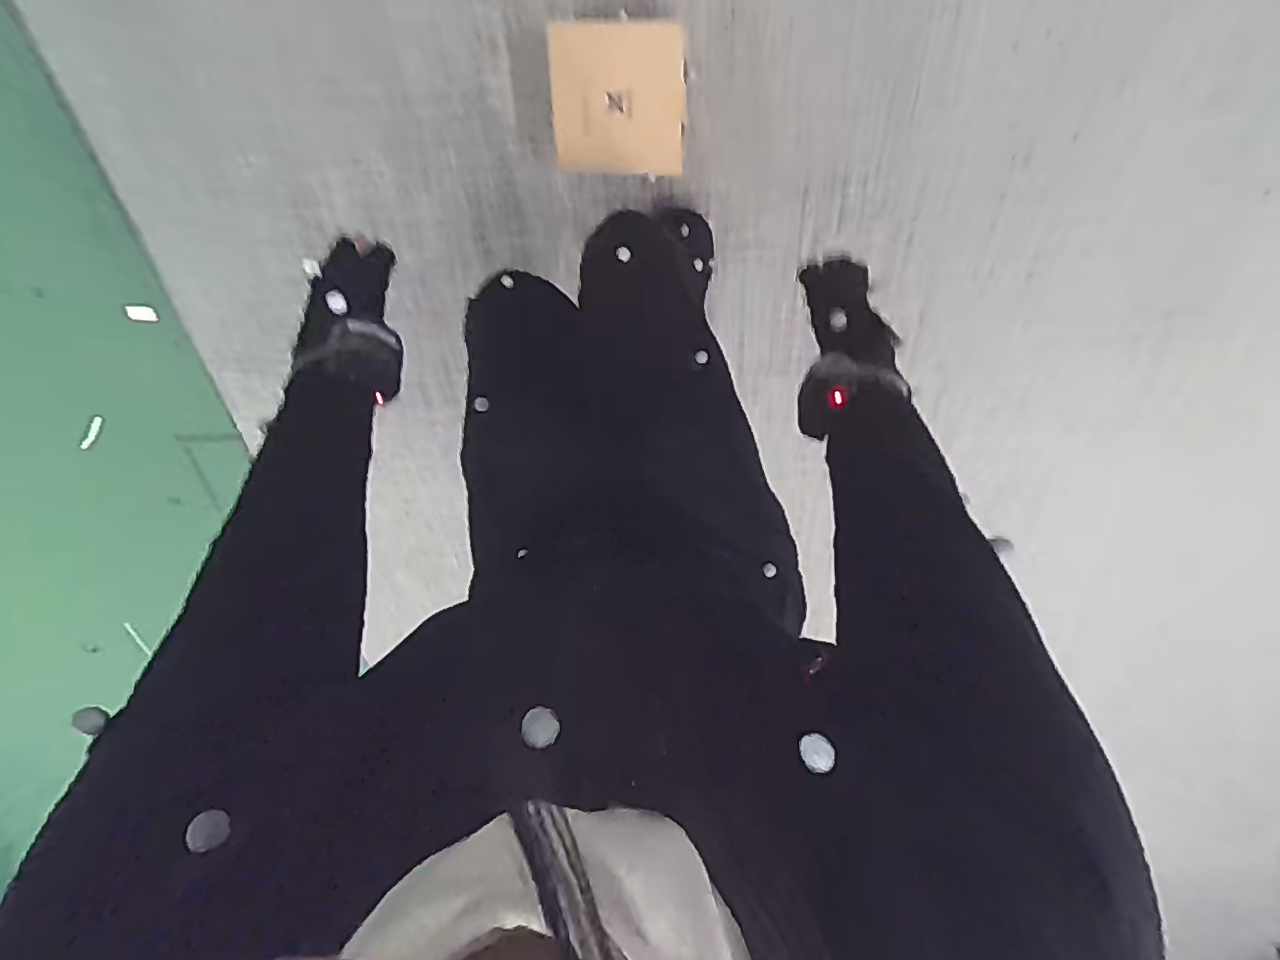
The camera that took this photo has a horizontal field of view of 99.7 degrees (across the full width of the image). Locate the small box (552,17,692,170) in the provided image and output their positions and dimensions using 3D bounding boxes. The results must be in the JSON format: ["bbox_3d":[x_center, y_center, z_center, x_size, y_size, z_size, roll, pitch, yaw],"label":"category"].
[{"bbox_3d":[-0.019,-0.548,0.775,0.179,0.176,0.168,2,124,4],"label":"small box"}]
